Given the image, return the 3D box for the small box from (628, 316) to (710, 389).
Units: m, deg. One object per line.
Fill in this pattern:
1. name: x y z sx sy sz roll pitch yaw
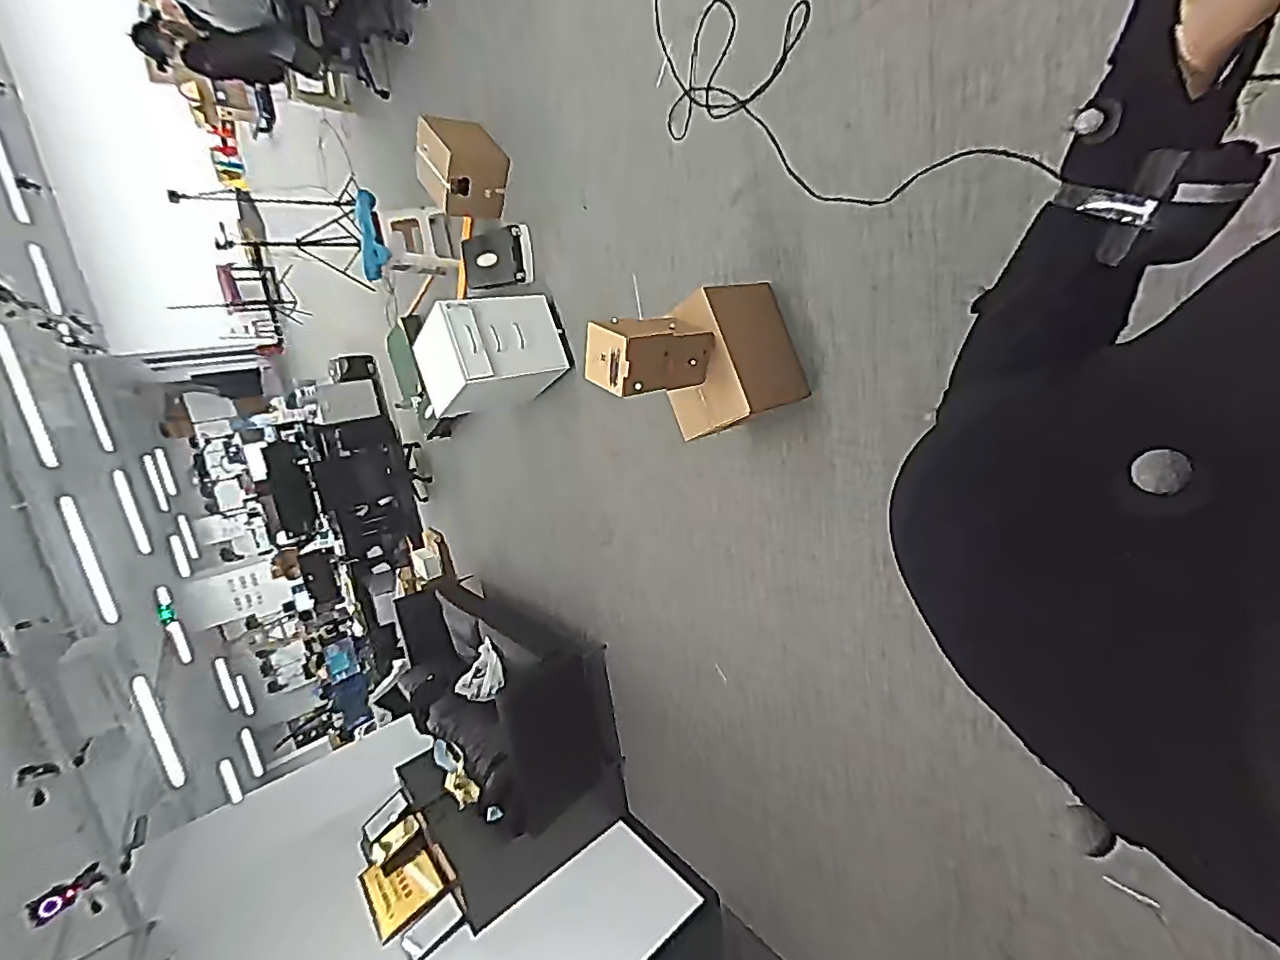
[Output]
1. small box: 0.088 -0.393 1.635 0.179 0.176 0.168 32 128 38
